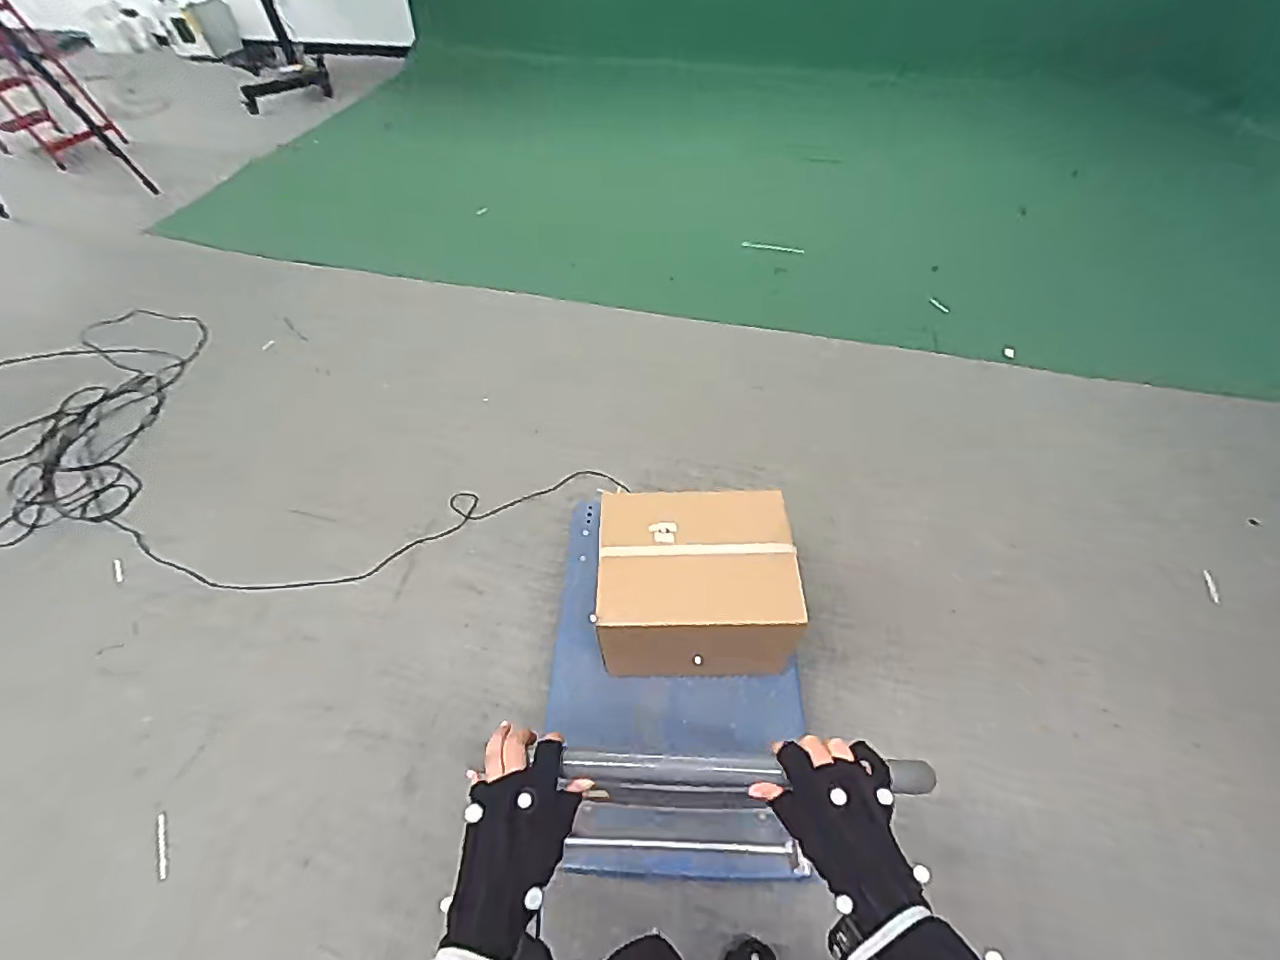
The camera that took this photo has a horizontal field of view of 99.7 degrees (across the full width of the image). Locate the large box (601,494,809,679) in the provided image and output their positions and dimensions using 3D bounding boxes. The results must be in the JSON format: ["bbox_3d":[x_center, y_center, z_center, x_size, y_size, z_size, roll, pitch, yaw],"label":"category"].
[{"bbox_3d":[0.128,0.252,1.237,0.408,0.320,0.320,-2,52,2],"label":"large box"}]
